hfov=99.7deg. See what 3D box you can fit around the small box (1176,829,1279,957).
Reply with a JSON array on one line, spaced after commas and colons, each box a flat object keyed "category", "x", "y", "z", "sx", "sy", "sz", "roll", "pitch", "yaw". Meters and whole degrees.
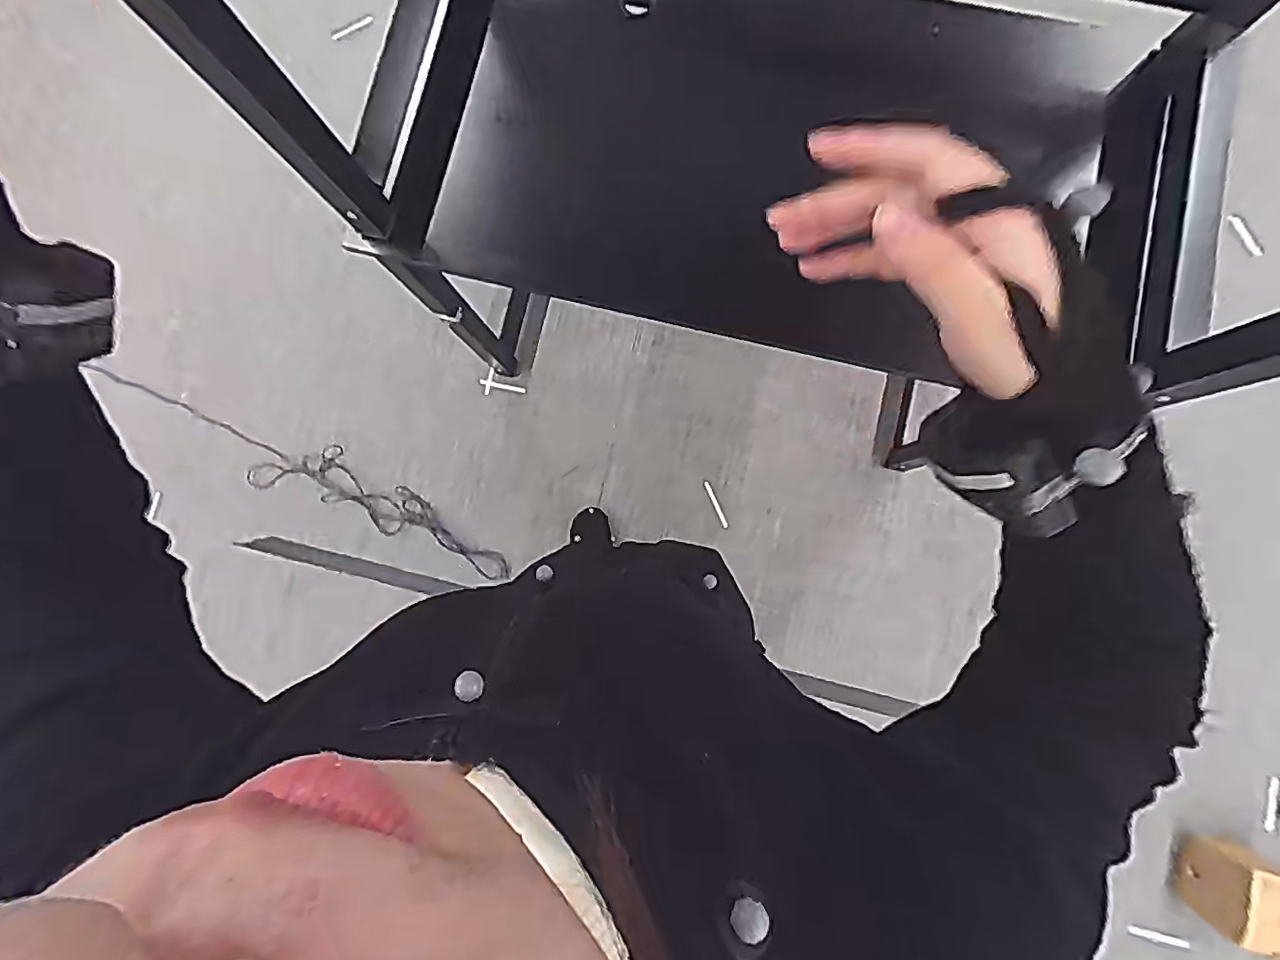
[{"category": "small box", "x": 1.442, "y": 0.980, "z": 1.284, "sx": 0.168, "sy": 0.176, "sz": 0.179, "roll": 14, "pitch": 87, "yaw": 4}]
